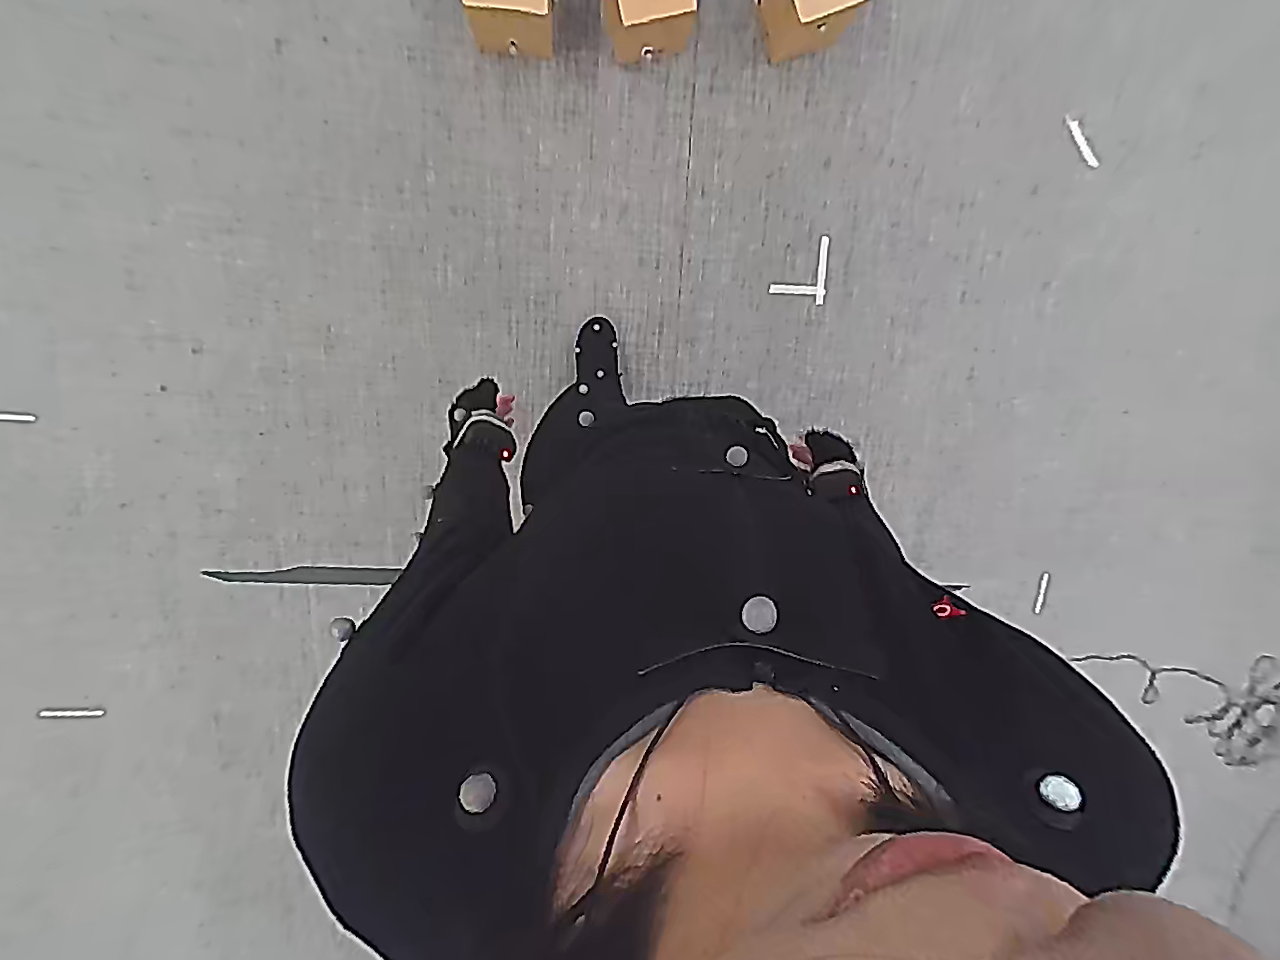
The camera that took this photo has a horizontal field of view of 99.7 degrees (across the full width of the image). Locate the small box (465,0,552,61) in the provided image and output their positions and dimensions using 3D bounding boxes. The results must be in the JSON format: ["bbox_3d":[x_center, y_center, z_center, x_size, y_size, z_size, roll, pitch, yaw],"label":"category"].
[{"bbox_3d":[-0.279,-1.049,1.173,0.179,0.176,0.168,0,102,-8],"label":"small box"}]

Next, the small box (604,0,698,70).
[{"bbox_3d":[0.016,-1.067,1.205,0.168,0.176,0.179,-16,104,-2],"label":"small box"}]

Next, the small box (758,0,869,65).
[{"bbox_3d":[0.387,-1.104,1.241,0.179,0.176,0.168,-23,104,-3],"label":"small box"}]
